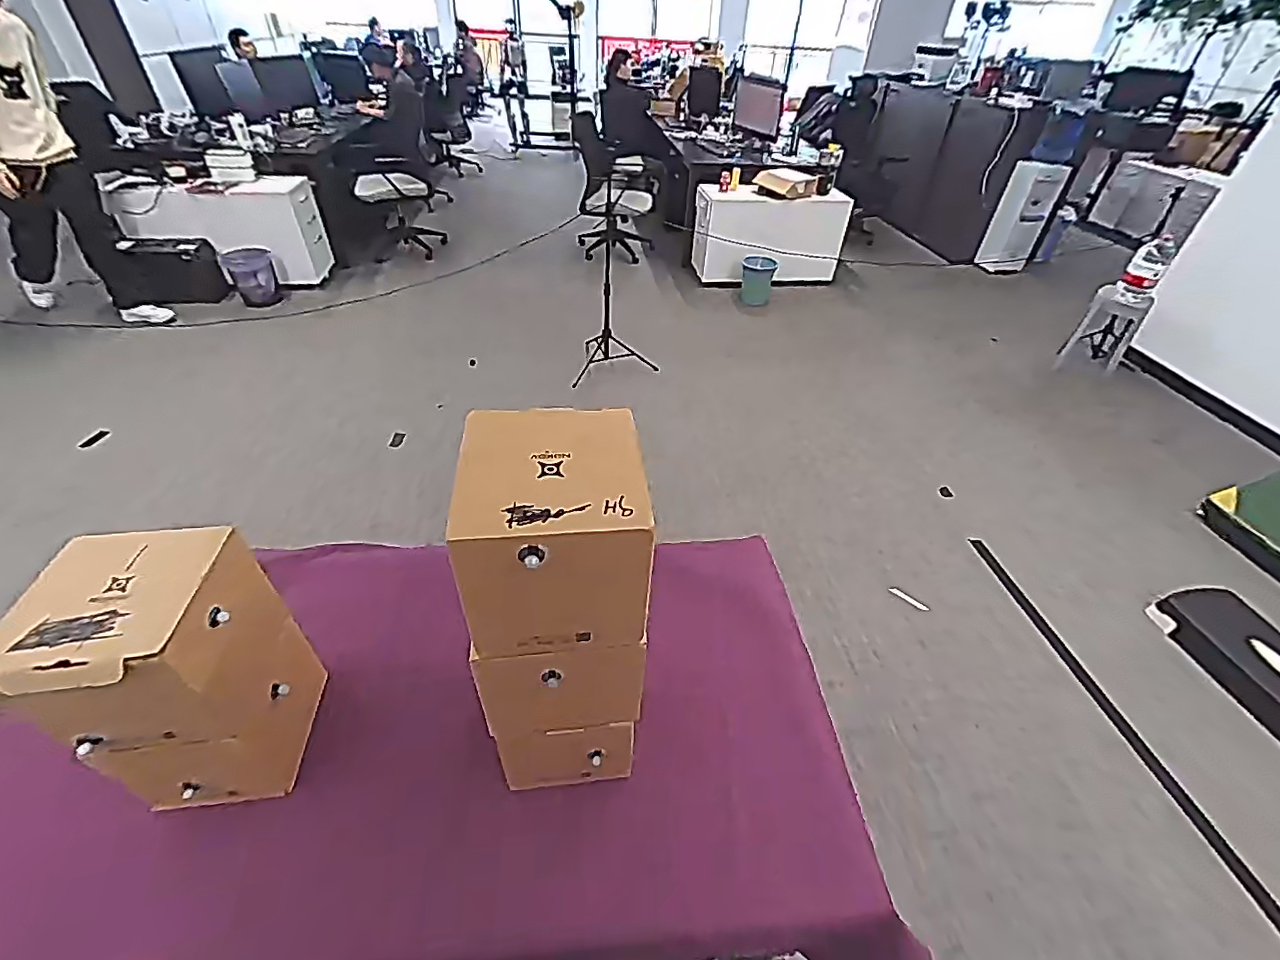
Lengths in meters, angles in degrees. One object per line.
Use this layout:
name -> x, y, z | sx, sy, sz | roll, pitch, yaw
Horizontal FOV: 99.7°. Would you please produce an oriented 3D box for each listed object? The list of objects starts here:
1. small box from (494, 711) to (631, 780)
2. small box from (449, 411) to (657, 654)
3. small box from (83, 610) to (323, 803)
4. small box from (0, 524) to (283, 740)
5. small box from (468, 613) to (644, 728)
small box -> -0.101, 0.297, 0.752 | 0.168, 0.176, 0.179 | -2, 41, -7
small box -> -0.081, 0.048, 0.539 | 0.168, 0.176, 0.179 | -2, 41, -7
small box -> -0.549, 0.298, 0.719 | 0.168, 0.176, 0.179 | -3, 42, -8
small box -> -0.542, 0.174, 0.611 | 0.168, 0.176, 0.179 | -3, 41, -9
small box -> -0.093, 0.175, 0.641 | 0.179, 0.176, 0.168 | -2, 42, -8
